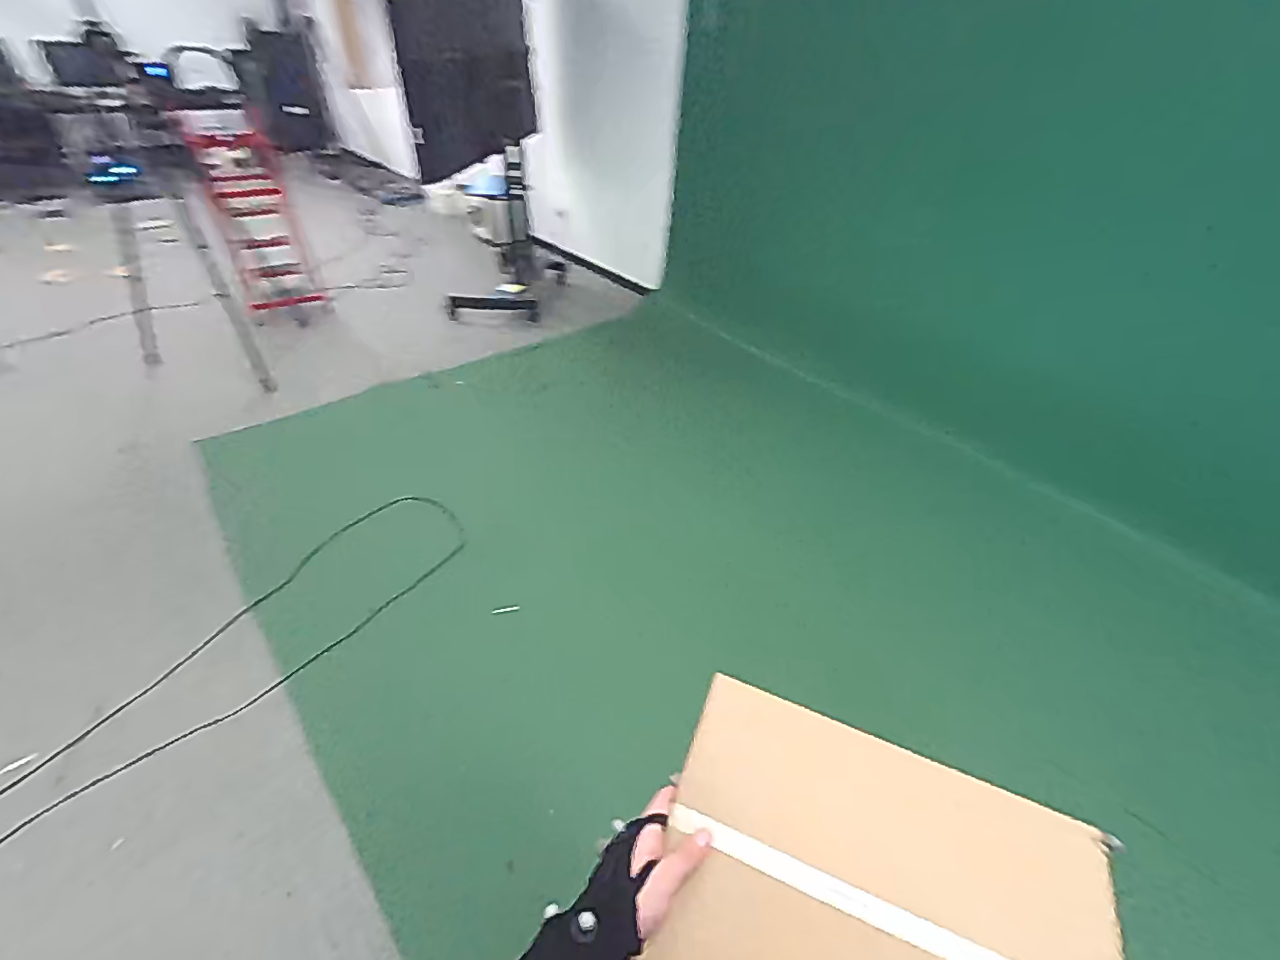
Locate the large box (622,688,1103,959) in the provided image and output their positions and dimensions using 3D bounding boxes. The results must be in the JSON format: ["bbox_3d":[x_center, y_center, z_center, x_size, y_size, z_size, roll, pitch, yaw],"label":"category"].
[{"bbox_3d":[0.205,0.505,0.609,0.408,0.320,0.320,19,49,13],"label":"large box"}]
